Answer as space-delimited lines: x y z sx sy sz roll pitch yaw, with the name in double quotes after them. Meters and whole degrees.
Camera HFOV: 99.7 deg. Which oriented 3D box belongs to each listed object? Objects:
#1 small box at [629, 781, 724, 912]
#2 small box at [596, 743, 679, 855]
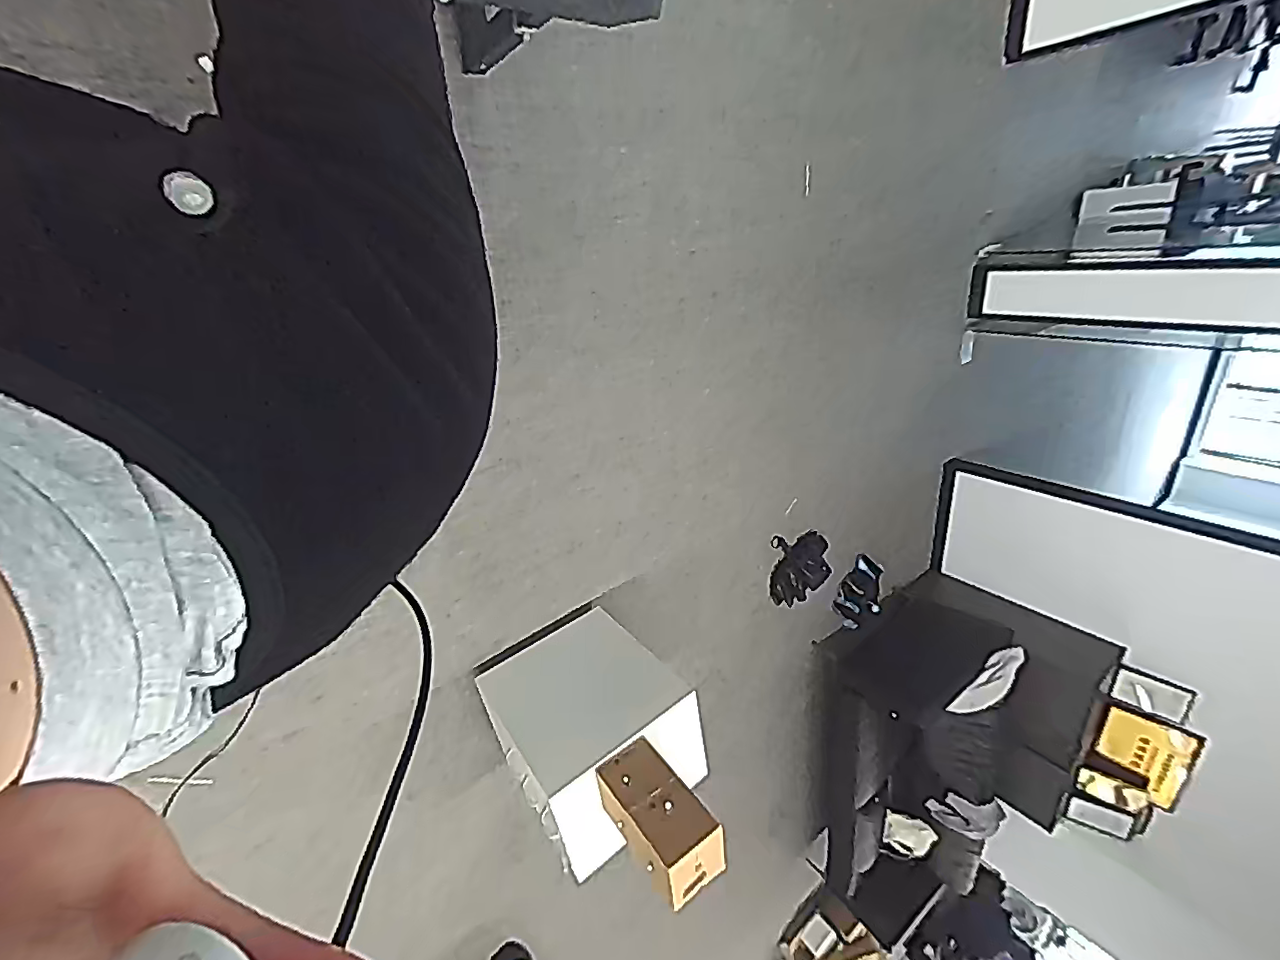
0.090 0.905 1.351 0.168 0.176 0.179 -22 119 -29 "small box"
-0.005 0.855 1.475 0.168 0.176 0.179 -23 121 -28 "small box"
